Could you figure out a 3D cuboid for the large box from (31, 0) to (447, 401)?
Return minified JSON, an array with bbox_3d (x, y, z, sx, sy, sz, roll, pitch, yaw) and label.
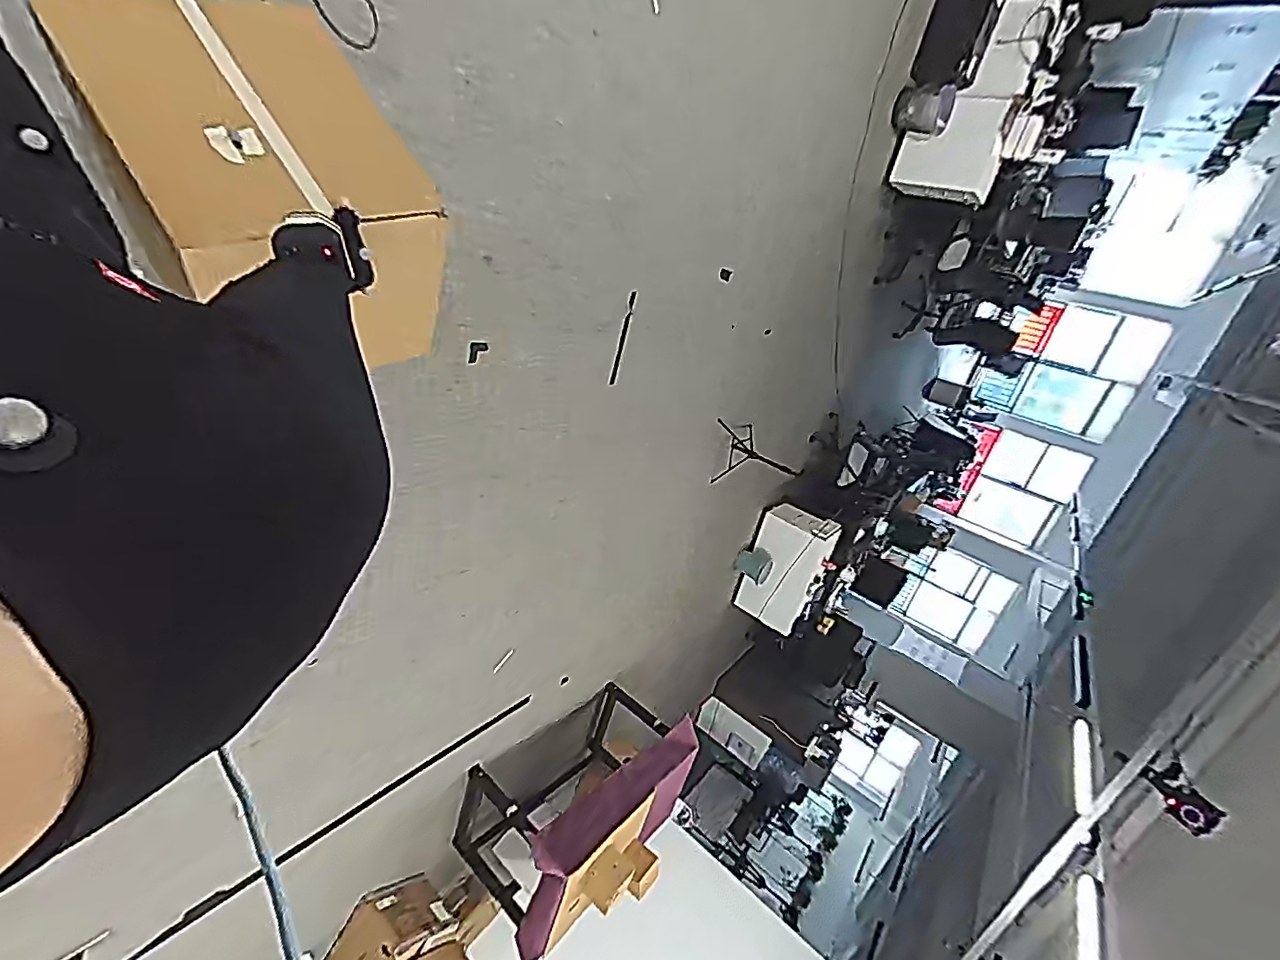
[{"bbox_3d":[-0.554,-0.399,0.813,0.320,0.408,0.320,-31,172,-35],"label":"large box"}]
